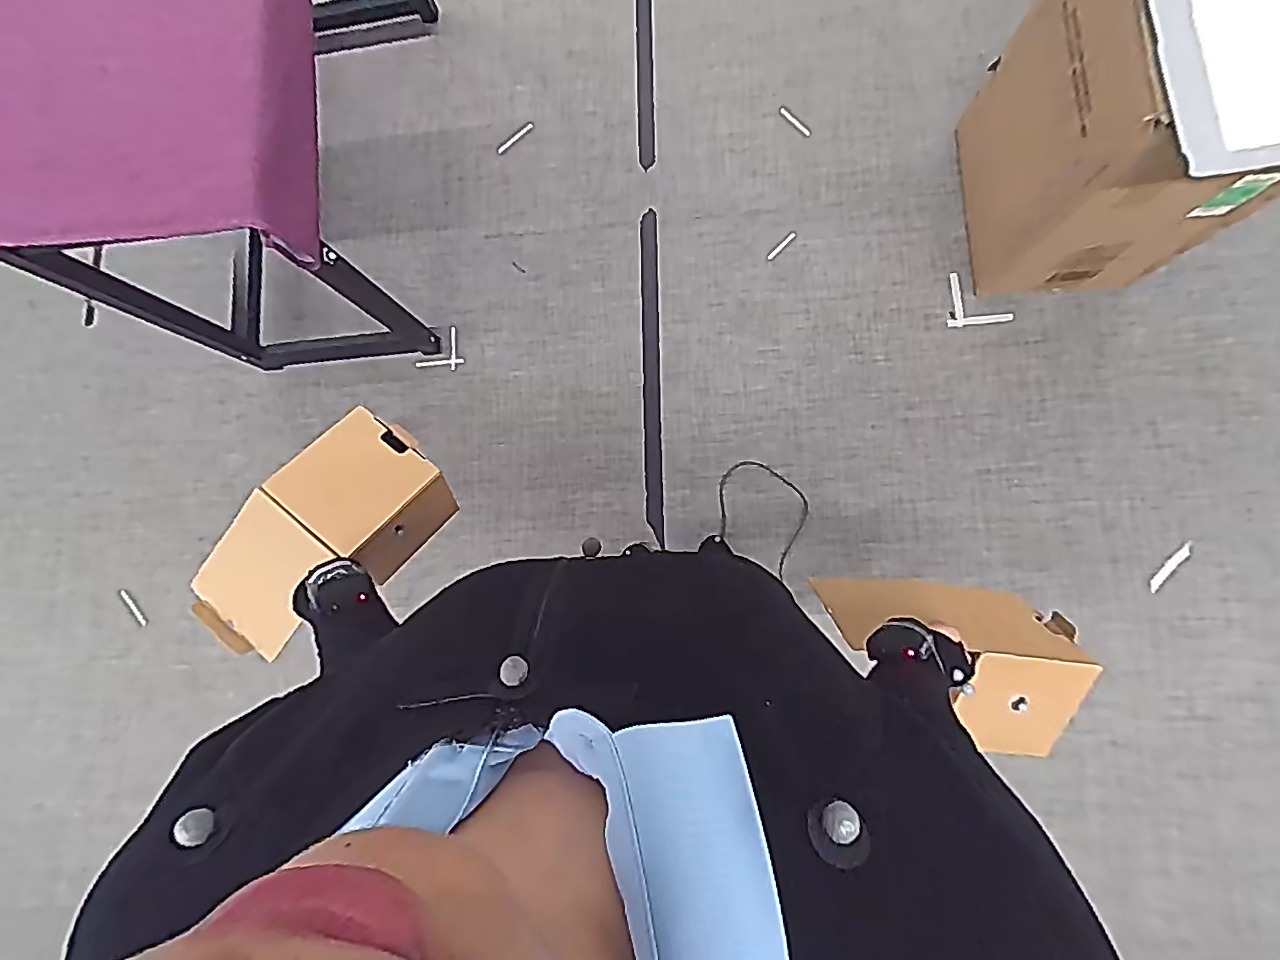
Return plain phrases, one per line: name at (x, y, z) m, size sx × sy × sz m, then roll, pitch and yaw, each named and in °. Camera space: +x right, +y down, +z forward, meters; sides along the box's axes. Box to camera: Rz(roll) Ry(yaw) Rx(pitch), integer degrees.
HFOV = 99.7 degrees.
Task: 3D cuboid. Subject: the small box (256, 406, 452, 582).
small box at (-0.410, 0.030, 0.814) m, size 0.168 × 0.176 × 0.179 m, roll 38°, pitch 67°, yaw 7°
